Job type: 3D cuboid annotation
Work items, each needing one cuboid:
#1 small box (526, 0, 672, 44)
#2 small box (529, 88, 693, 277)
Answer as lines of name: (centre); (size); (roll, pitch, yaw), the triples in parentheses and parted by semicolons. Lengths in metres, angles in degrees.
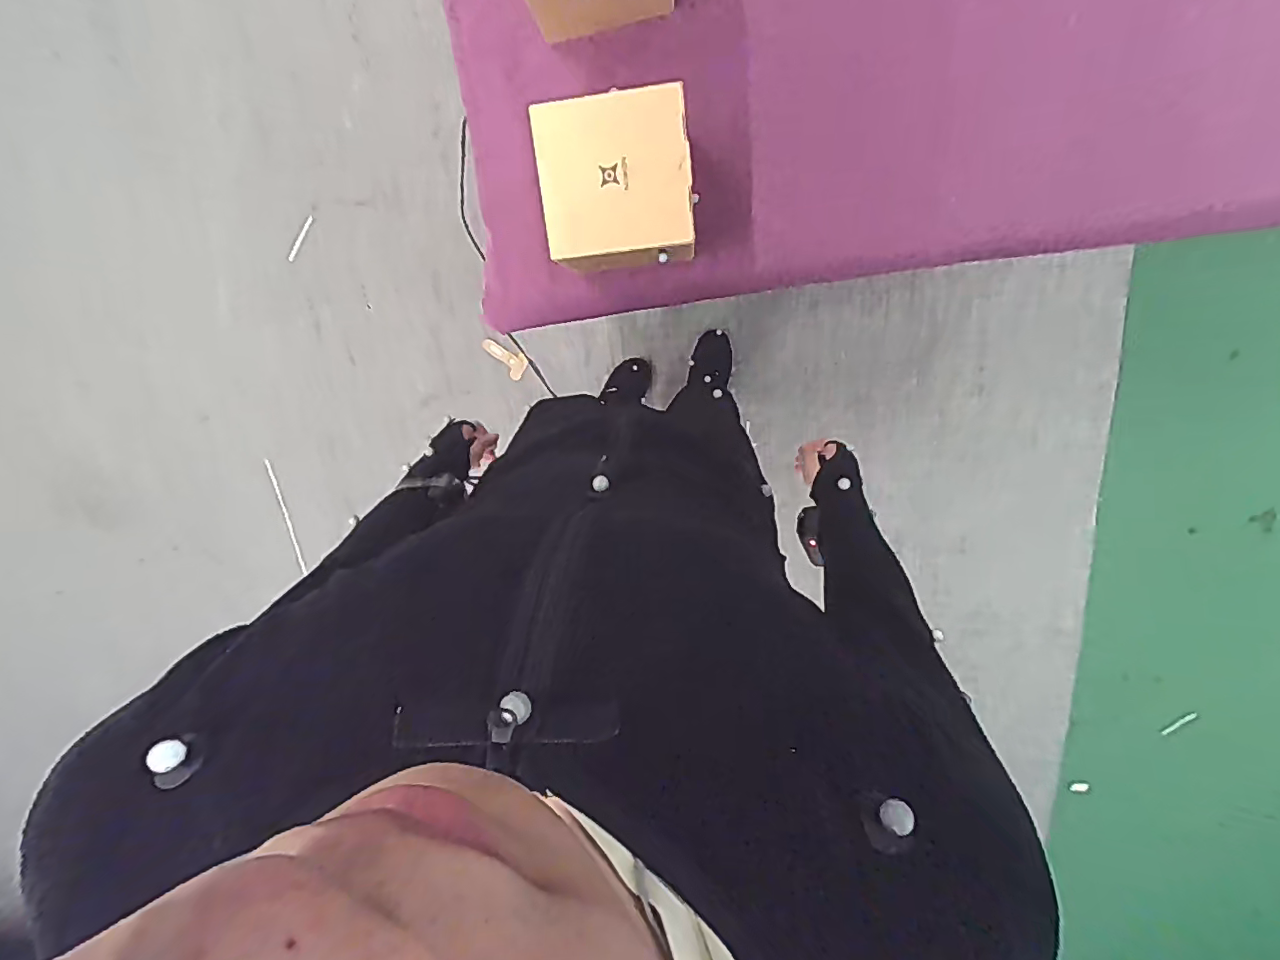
small box: (-0.061, -0.640, 0.614); (0.179, 0.176, 0.168); (-9, 106, 6)
small box: (-0.026, -0.363, 0.694); (0.179, 0.176, 0.168); (-5, 105, 5)
